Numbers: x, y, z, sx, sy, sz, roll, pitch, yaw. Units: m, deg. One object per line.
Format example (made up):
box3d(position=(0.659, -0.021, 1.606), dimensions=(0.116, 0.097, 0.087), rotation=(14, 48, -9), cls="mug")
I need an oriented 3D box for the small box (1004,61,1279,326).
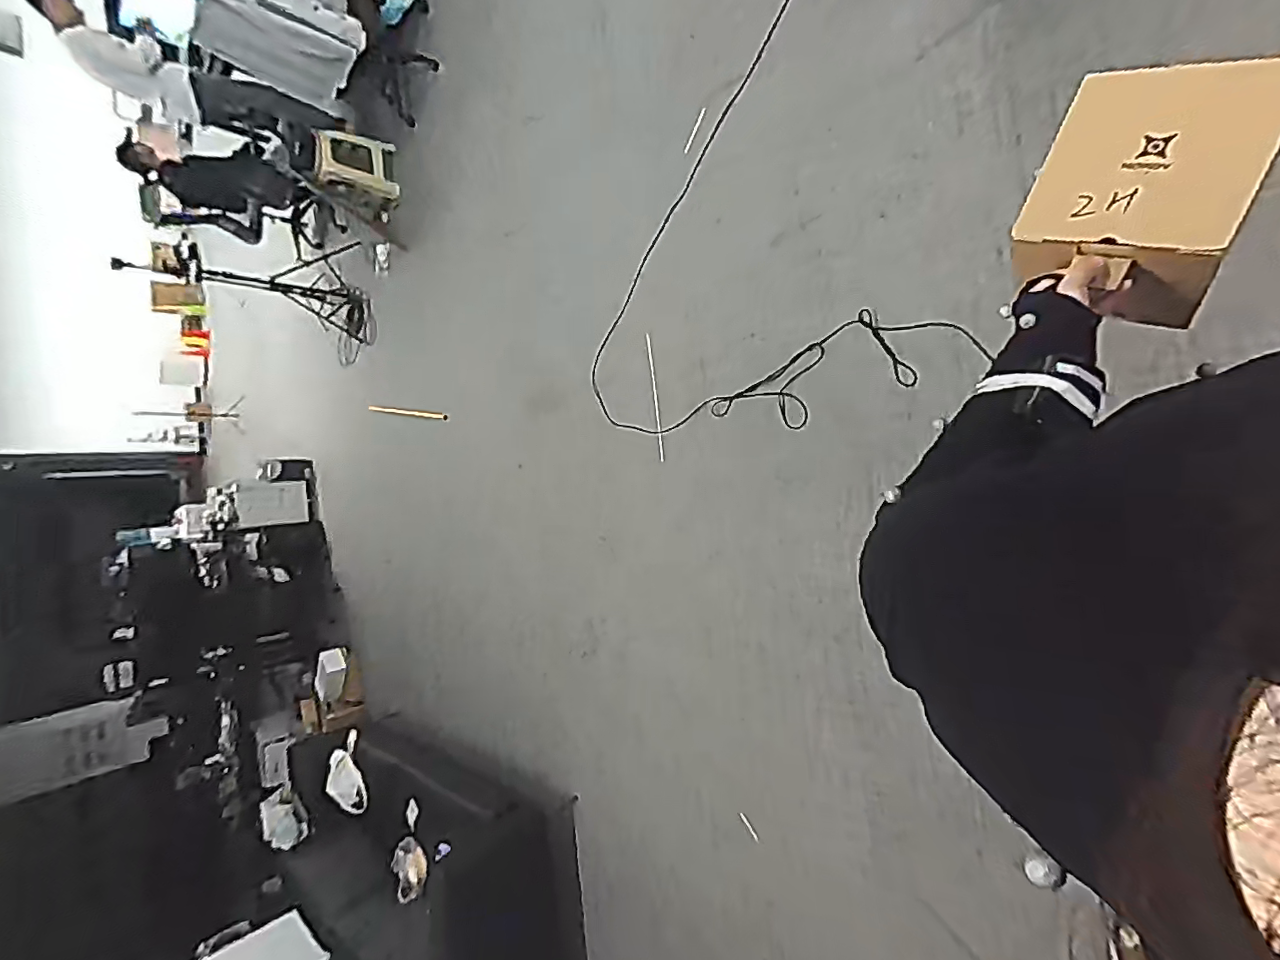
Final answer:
box3d(position=(0.517, -0.289, 0.572), dimensions=(0.168, 0.176, 0.179), rotation=(27, 97, 39), cls="small box")
